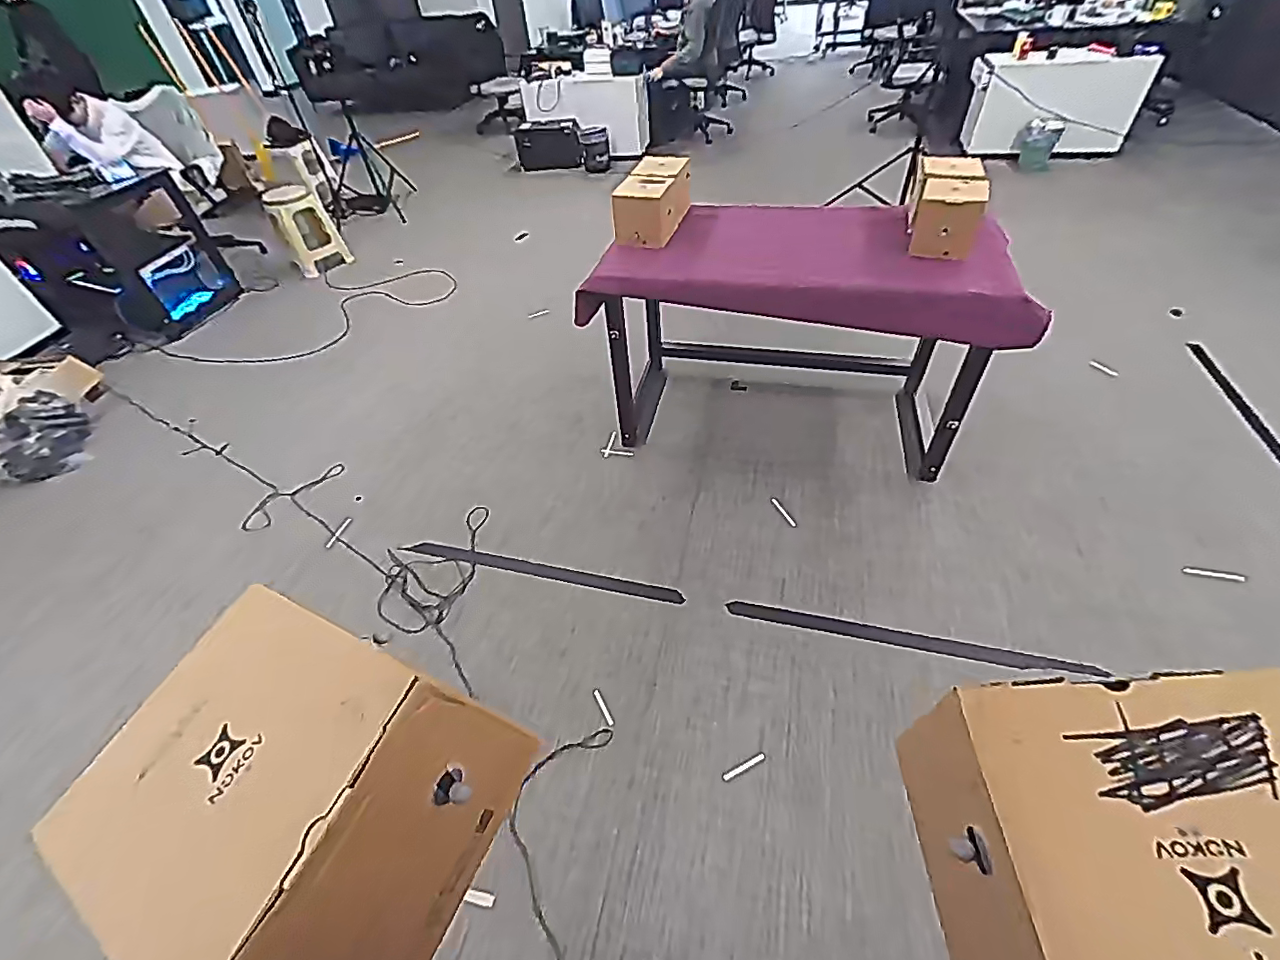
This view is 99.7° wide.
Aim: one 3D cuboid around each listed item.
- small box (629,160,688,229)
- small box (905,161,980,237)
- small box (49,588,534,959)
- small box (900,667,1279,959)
[{"bbox_3d":[0.070,-1.020,1.927,0.168,0.176,0.179,11,49,15],"label":"small box"},{"bbox_3d":[0.958,-0.898,1.727,0.168,0.176,0.179,11,48,15],"label":"small box"},{"bbox_3d":[-0.202,0.202,0.361,0.179,0.176,0.168,13,58,28],"label":"small box"},{"bbox_3d":[0.271,0.223,0.312,0.168,0.176,0.179,-7,55,8],"label":"small box"}]
